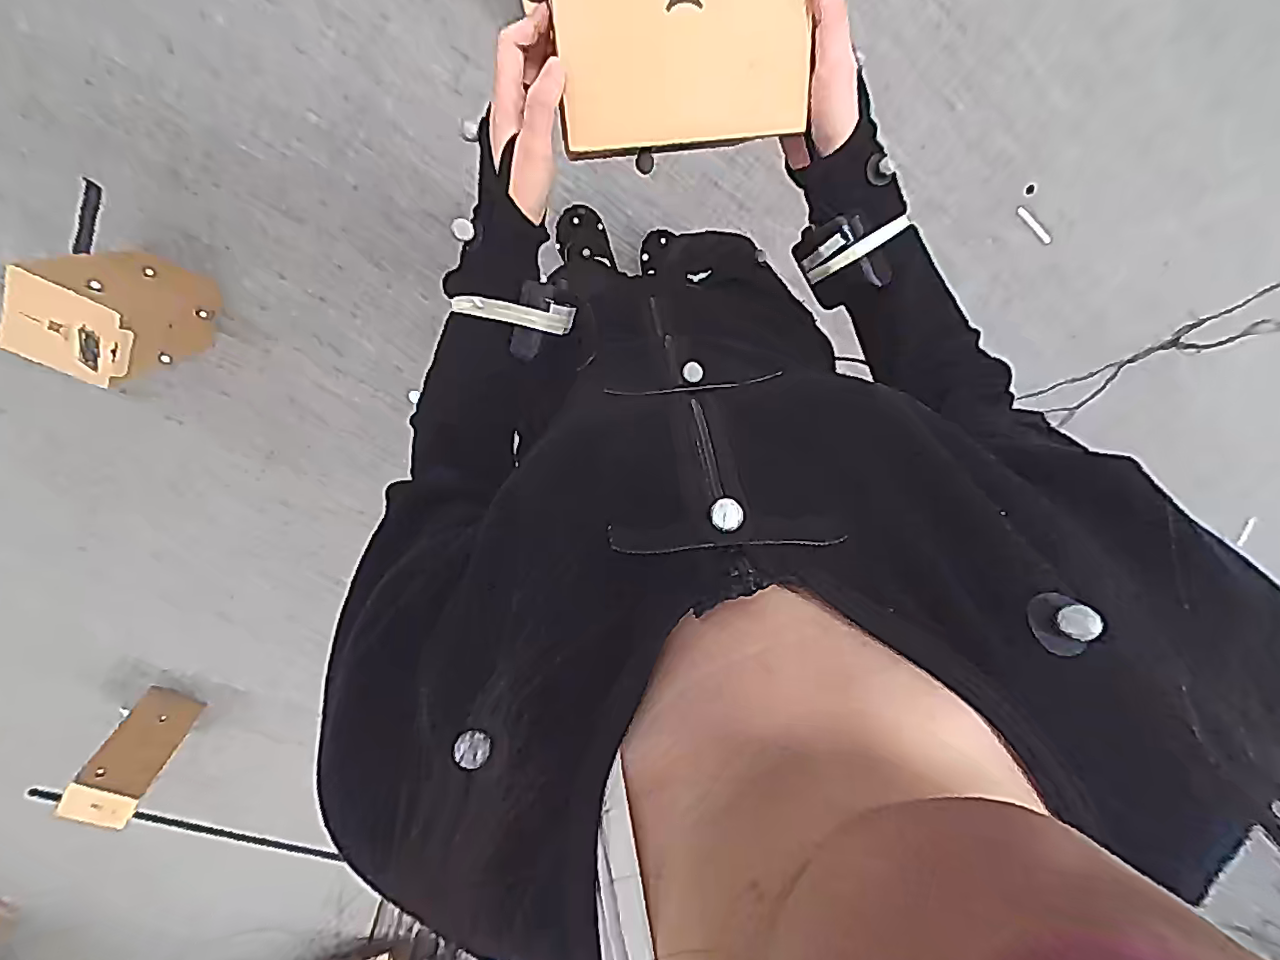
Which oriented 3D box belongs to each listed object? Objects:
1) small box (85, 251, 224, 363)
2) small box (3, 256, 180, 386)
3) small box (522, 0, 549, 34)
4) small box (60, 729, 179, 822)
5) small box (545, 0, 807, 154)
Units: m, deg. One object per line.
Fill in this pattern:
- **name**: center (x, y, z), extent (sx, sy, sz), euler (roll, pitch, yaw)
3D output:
- **small box**: center (-1.069, -0.388, 1.194), extent (0.179, 0.176, 0.168), euler (25, 112, -17)
- **small box**: center (-1.047, -0.315, 1.048), extent (0.179, 0.176, 0.168), euler (25, 112, -18)
- **small box**: center (-0.151, -0.966, 0.996), extent (0.168, 0.176, 0.179), euler (-14, 119, 0)
- **small box**: center (-1.554, 0.881, 1.624), extent (0.179, 0.176, 0.168), euler (32, 111, -22)
- **small box**: center (0.015, -0.345, 0.396), extent (0.168, 0.176, 0.179), euler (-7, 118, -4)
